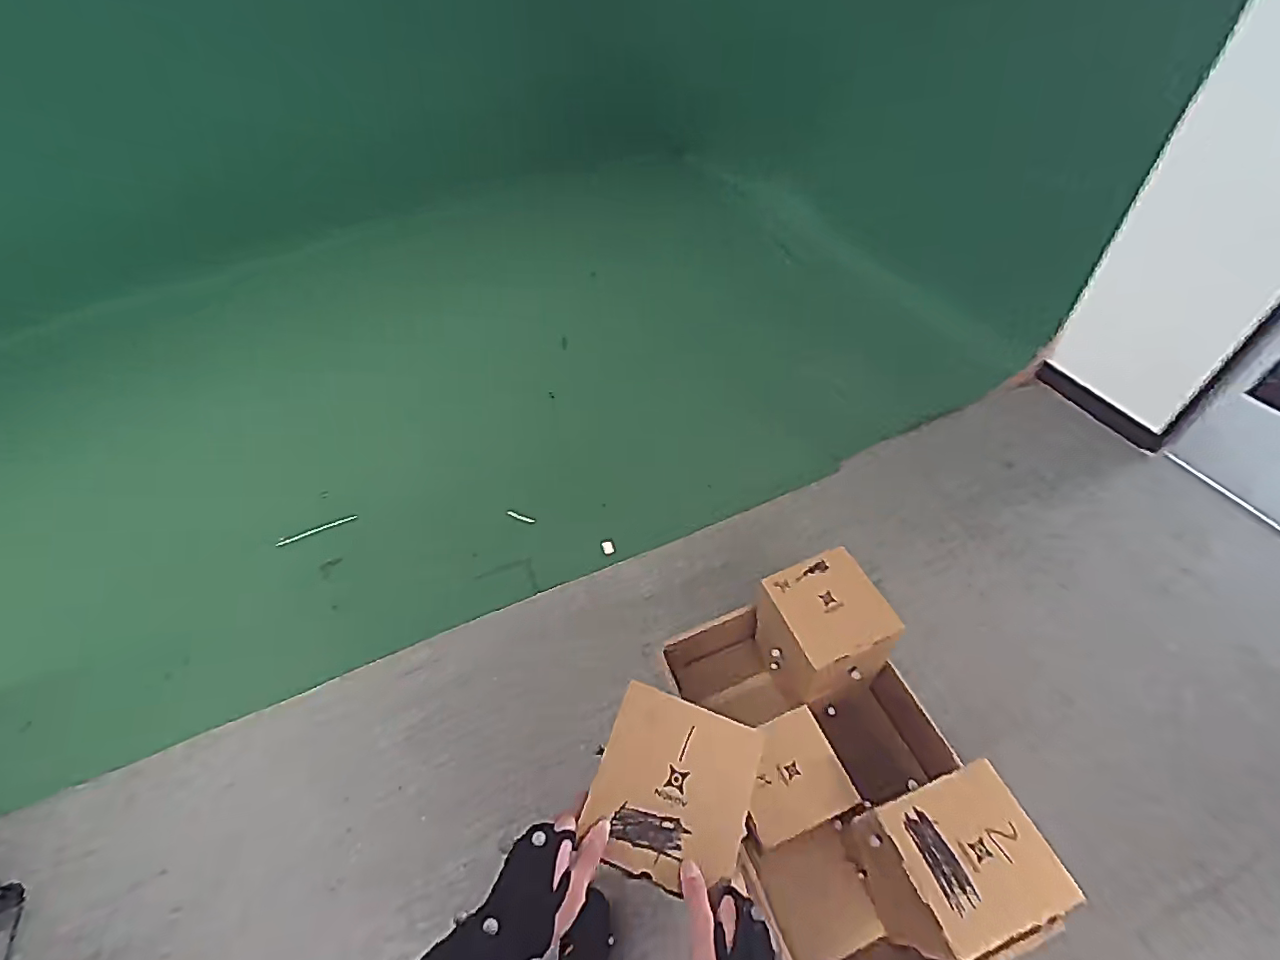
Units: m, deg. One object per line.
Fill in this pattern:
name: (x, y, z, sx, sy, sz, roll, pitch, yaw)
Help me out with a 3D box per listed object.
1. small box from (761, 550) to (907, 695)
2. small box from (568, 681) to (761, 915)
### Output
small box: (0.329, 0.260, 0.956, 0.168, 0.176, 0.179, -21, 52, -7)
small box: (0.027, 0.365, 0.641, 0.168, 0.176, 0.179, 19, 61, 5)
